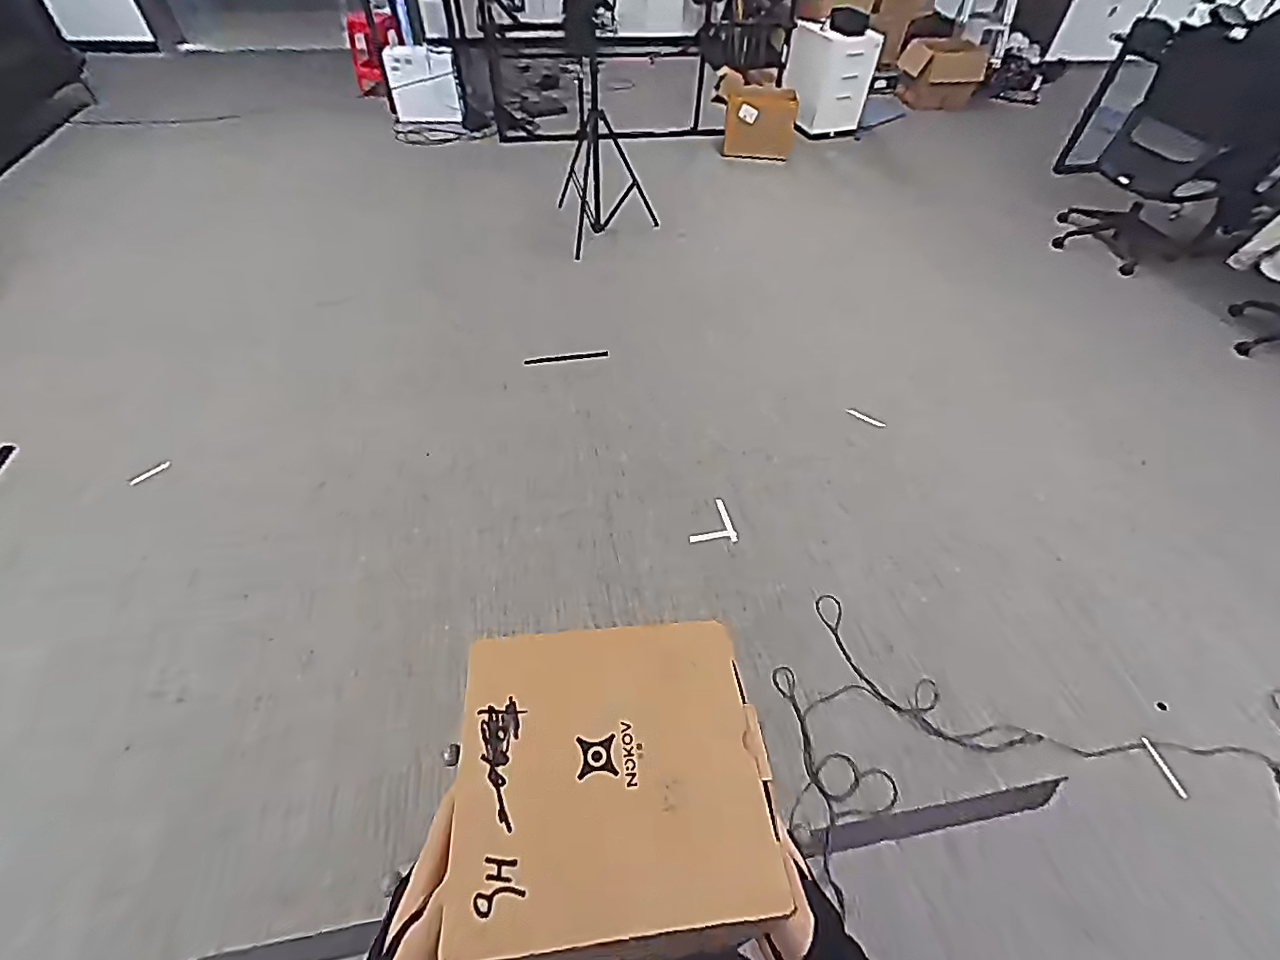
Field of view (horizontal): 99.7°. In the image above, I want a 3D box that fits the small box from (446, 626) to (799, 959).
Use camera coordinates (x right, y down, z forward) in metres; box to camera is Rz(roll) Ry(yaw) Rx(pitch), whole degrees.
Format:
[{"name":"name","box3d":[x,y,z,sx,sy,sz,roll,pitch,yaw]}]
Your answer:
[{"name":"small box","box3d":[-0.021,0.220,0.371,0.179,0.176,0.168,-2,44,-9]}]
